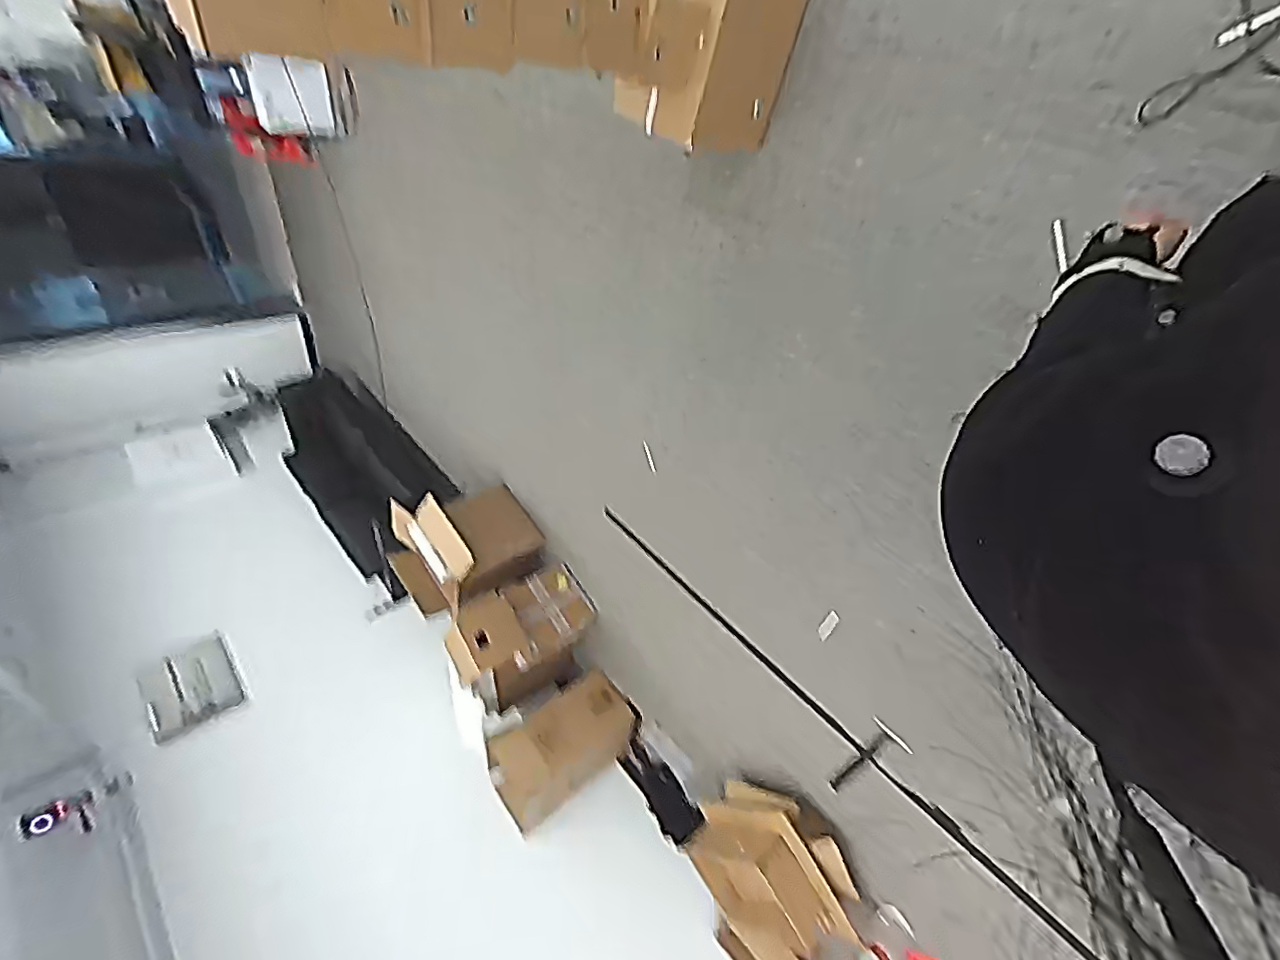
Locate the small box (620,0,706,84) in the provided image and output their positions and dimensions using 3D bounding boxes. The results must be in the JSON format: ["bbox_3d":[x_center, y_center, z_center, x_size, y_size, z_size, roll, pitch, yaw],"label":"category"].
[{"bbox_3d":[0.025,-1.040,1.238,0.168,0.176,0.179,46,139,22],"label":"small box"}]

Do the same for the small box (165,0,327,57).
[{"bbox_3d":[-0.577,-0.742,0.772,0.168,0.176,0.179,45,140,24],"label":"small box"}]

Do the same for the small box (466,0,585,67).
[{"bbox_3d":[-0.219,-0.934,1.050,0.168,0.176,0.179,40,136,29],"label":"small box"}]

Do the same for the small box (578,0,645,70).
[{"bbox_3d":[-0.104,-0.988,1.153,0.179,0.176,0.168,35,134,34],"label":"small box"}]
